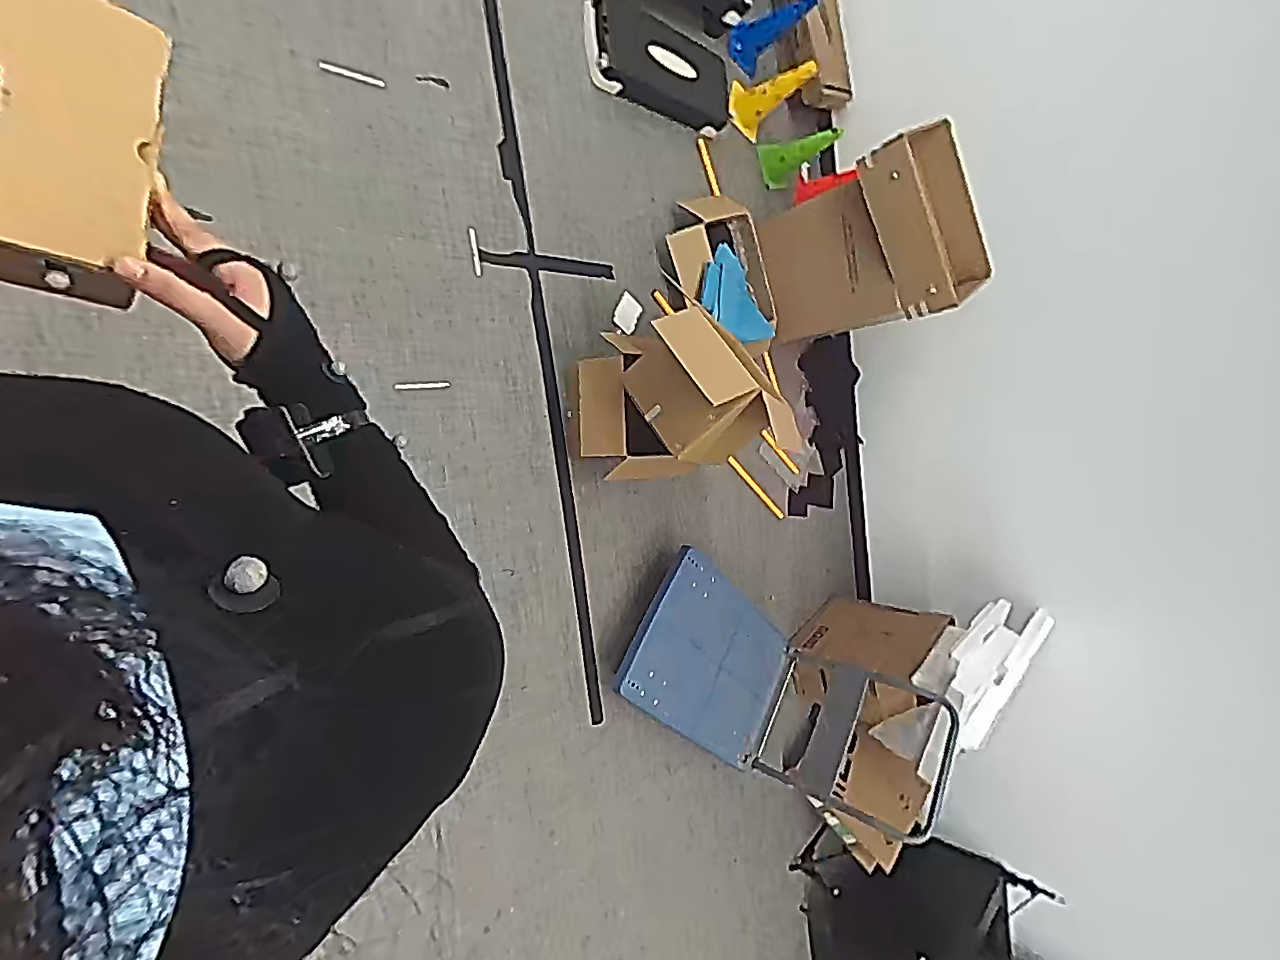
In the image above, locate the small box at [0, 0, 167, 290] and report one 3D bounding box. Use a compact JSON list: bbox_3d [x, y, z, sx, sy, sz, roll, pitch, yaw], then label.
[{"bbox_3d":[-0.438,-0.235,0.347,0.179,0.176,0.168,6,91,-48],"label":"small box"}]
